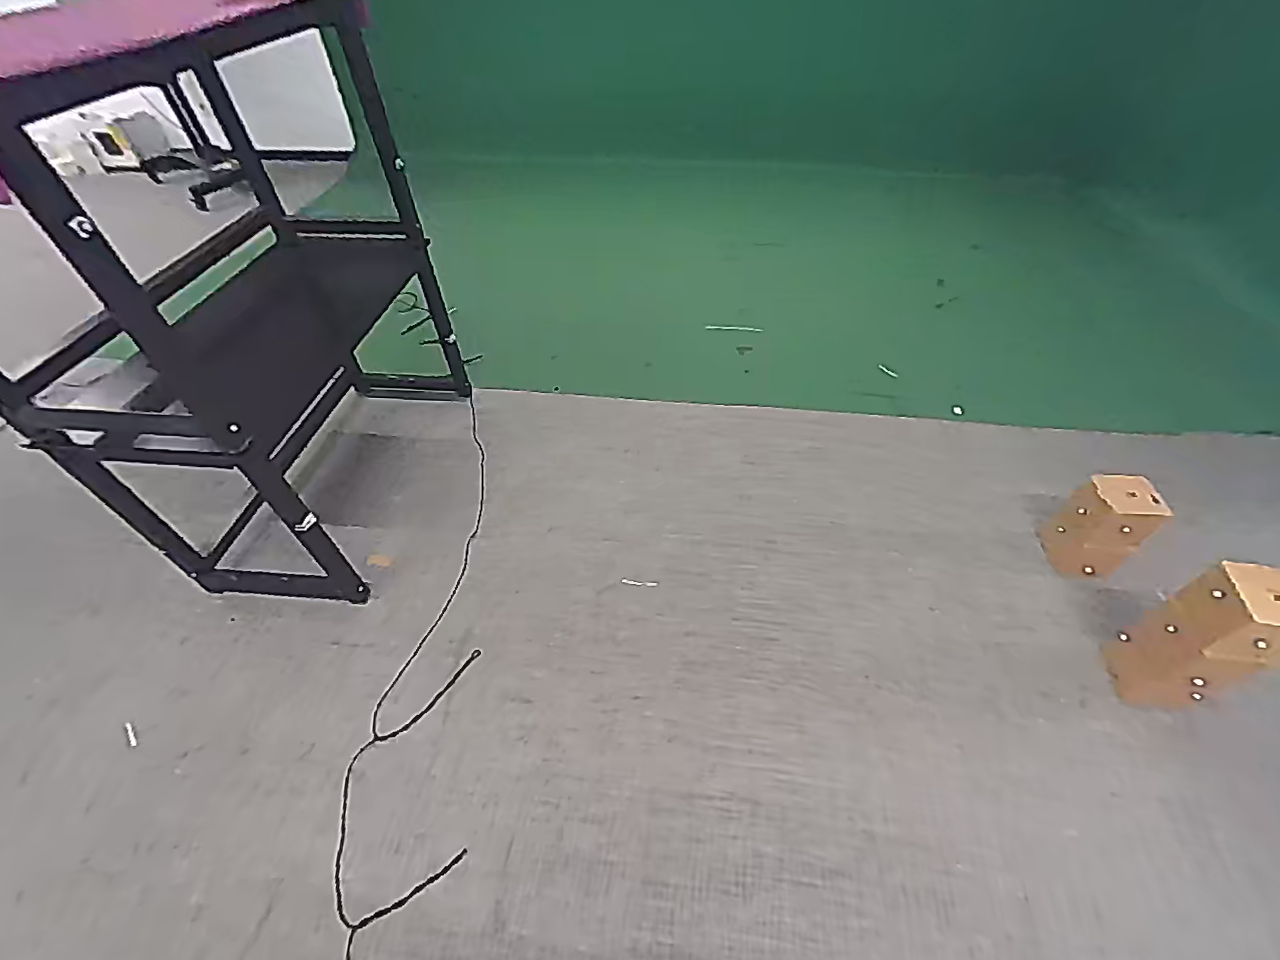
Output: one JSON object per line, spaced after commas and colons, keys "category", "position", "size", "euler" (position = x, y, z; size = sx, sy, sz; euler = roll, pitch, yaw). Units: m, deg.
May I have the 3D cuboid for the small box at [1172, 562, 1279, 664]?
{"category": "small box", "position": [1.491, 0.331, 1.336], "size": [0.168, 0.176, 0.179], "euler": [8, 47, 10]}

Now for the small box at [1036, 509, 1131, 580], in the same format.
{"category": "small box", "position": [1.528, 0.224, 1.880], "size": [0.168, 0.176, 0.179], "euler": [4, 48, 5]}

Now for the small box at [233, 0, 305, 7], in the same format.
{"category": "small box", "position": [-0.967, -1.326, 1.374], "size": [0.168, 0.176, 0.179], "euler": [8, 49, 7]}

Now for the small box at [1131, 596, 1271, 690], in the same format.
{"category": "small box", "position": [1.491, 0.439, 1.456], "size": [0.168, 0.176, 0.179], "euler": [5, 48, 6]}

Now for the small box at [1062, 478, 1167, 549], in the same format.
{"category": "small box", "position": [1.527, 0.110, 1.762], "size": [0.179, 0.176, 0.168], "euler": [1, 48, 3]}
